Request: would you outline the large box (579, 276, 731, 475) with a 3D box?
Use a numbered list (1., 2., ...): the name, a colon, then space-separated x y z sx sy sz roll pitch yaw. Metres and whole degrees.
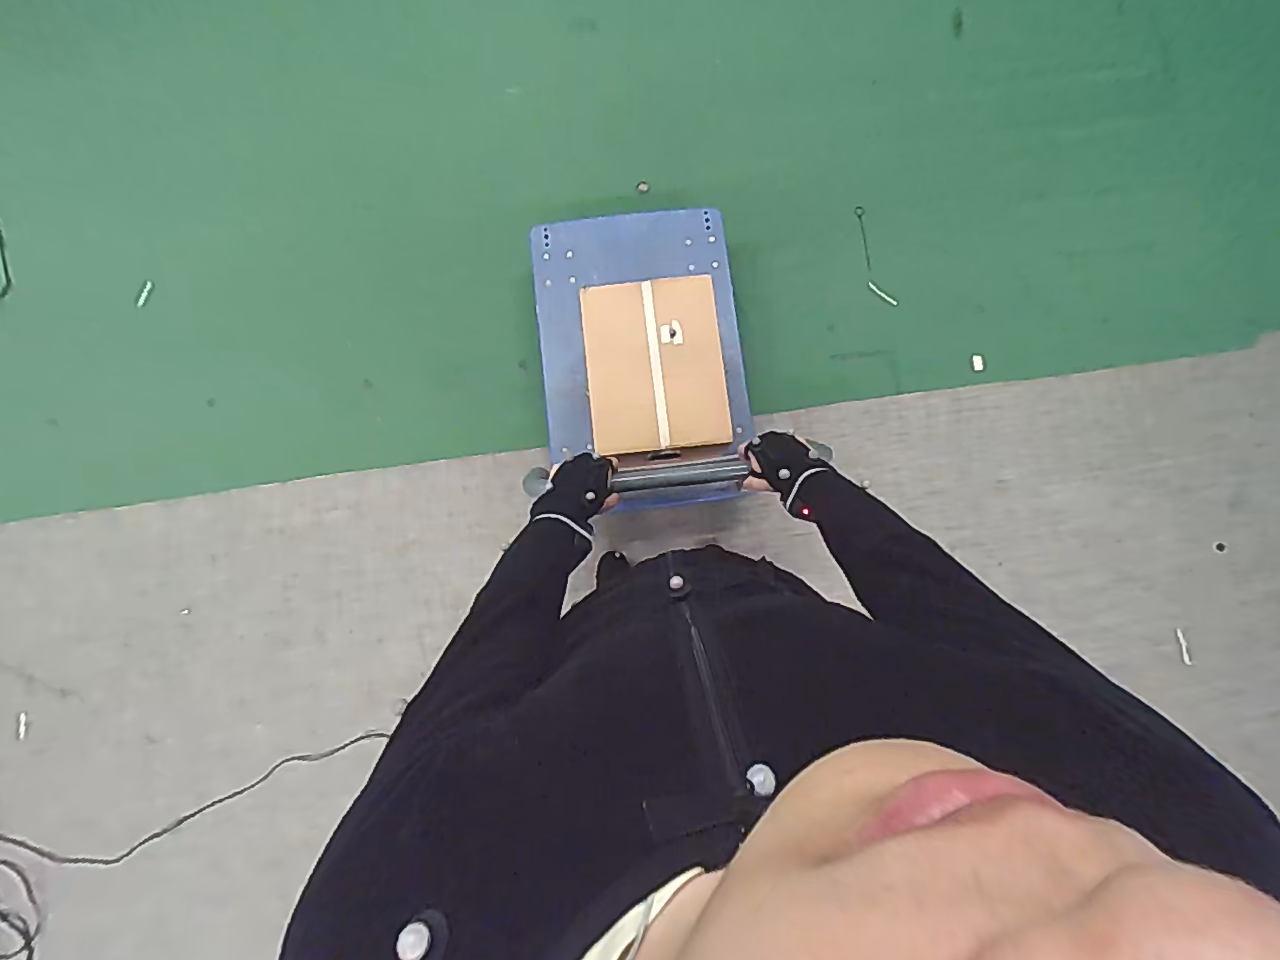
1. large box: 0.033 -0.246 1.389 0.320 0.320 0.408 -6 82 -1
